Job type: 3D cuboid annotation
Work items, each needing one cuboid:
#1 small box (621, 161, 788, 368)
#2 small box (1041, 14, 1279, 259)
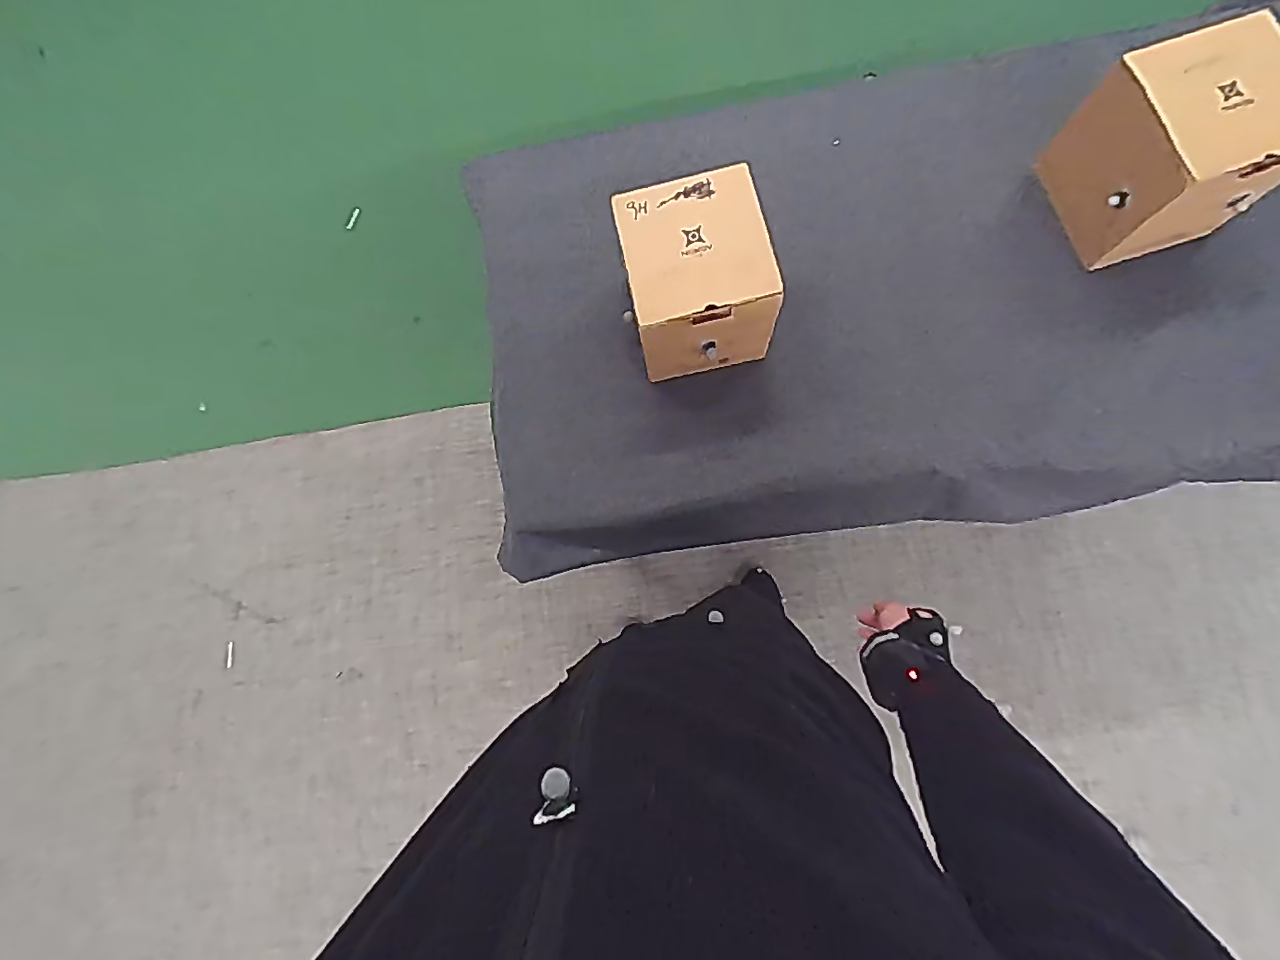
[{"bbox_3d":[0.080,-0.259,0.697,0.168,0.176,0.179,-12,78,3],"label":"small box"},{"bbox_3d":[0.652,-0.400,0.663,0.168,0.176,0.179,-16,77,2],"label":"small box"}]
